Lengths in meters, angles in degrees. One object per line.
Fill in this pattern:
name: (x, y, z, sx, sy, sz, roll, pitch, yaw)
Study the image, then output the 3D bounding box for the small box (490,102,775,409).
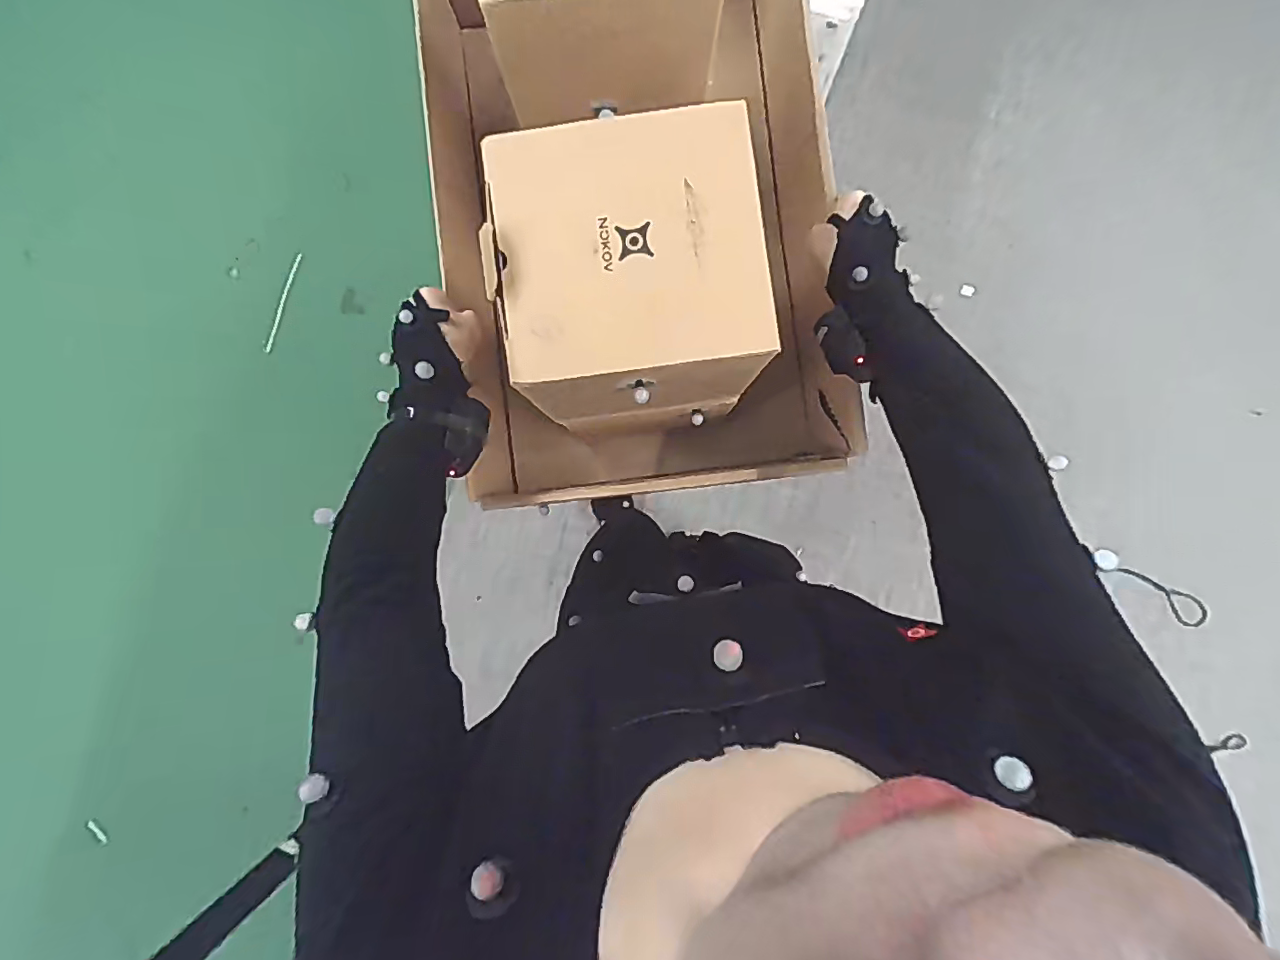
small box: (-0.005, -0.157, 0.436, 0.179, 0.176, 0.168, -7, 89, -1)

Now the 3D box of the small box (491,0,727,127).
small box: (-0.029, -0.409, 0.435, 0.168, 0.176, 0.179, -5, 92, 0)
